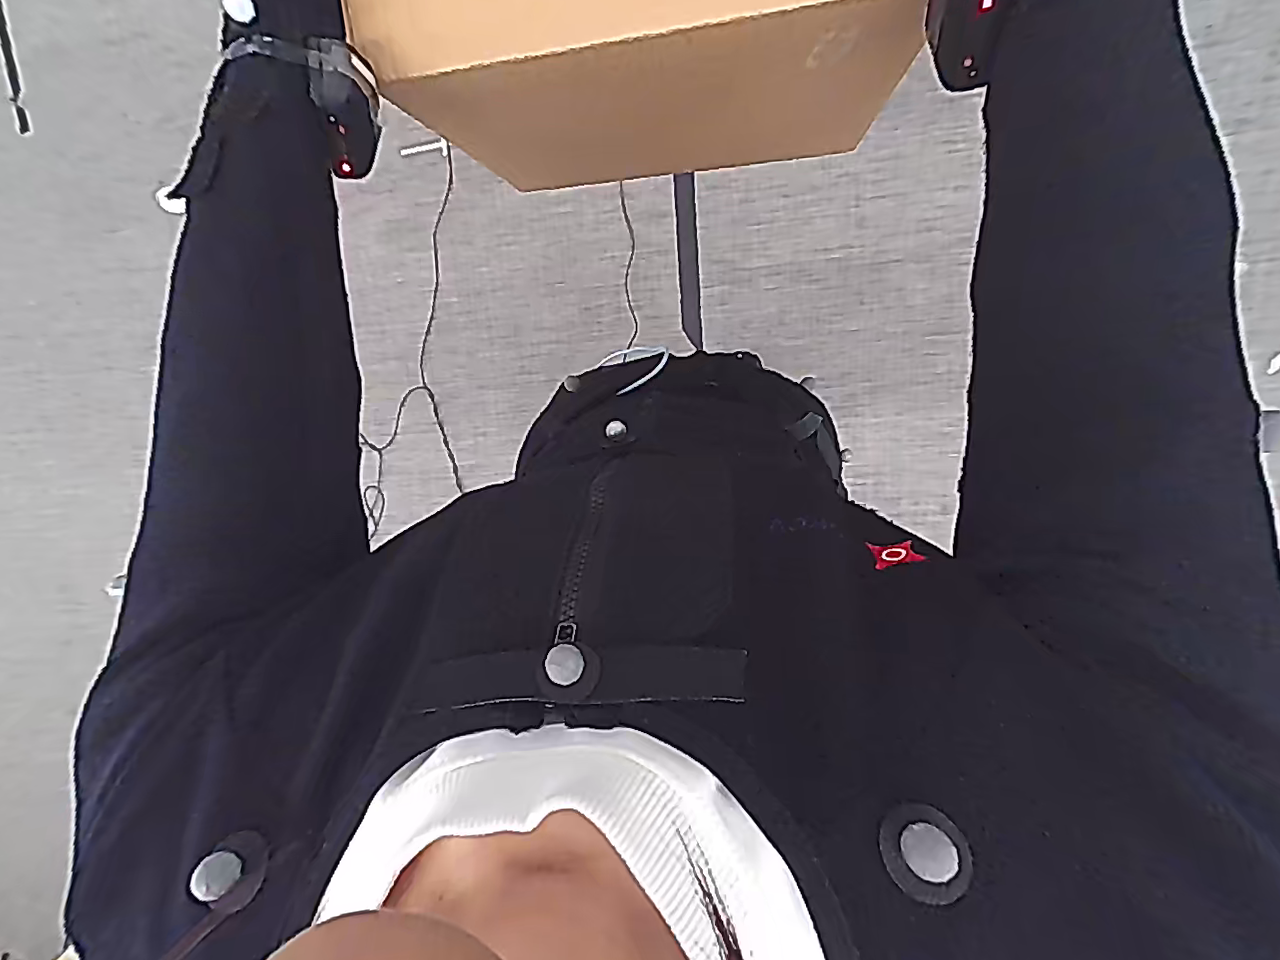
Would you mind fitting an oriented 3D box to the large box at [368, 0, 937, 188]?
[{"bbox_3d":[0.013,-0.486,0.470,0.408,0.320,0.320,-3,105,9],"label":"large box"}]
